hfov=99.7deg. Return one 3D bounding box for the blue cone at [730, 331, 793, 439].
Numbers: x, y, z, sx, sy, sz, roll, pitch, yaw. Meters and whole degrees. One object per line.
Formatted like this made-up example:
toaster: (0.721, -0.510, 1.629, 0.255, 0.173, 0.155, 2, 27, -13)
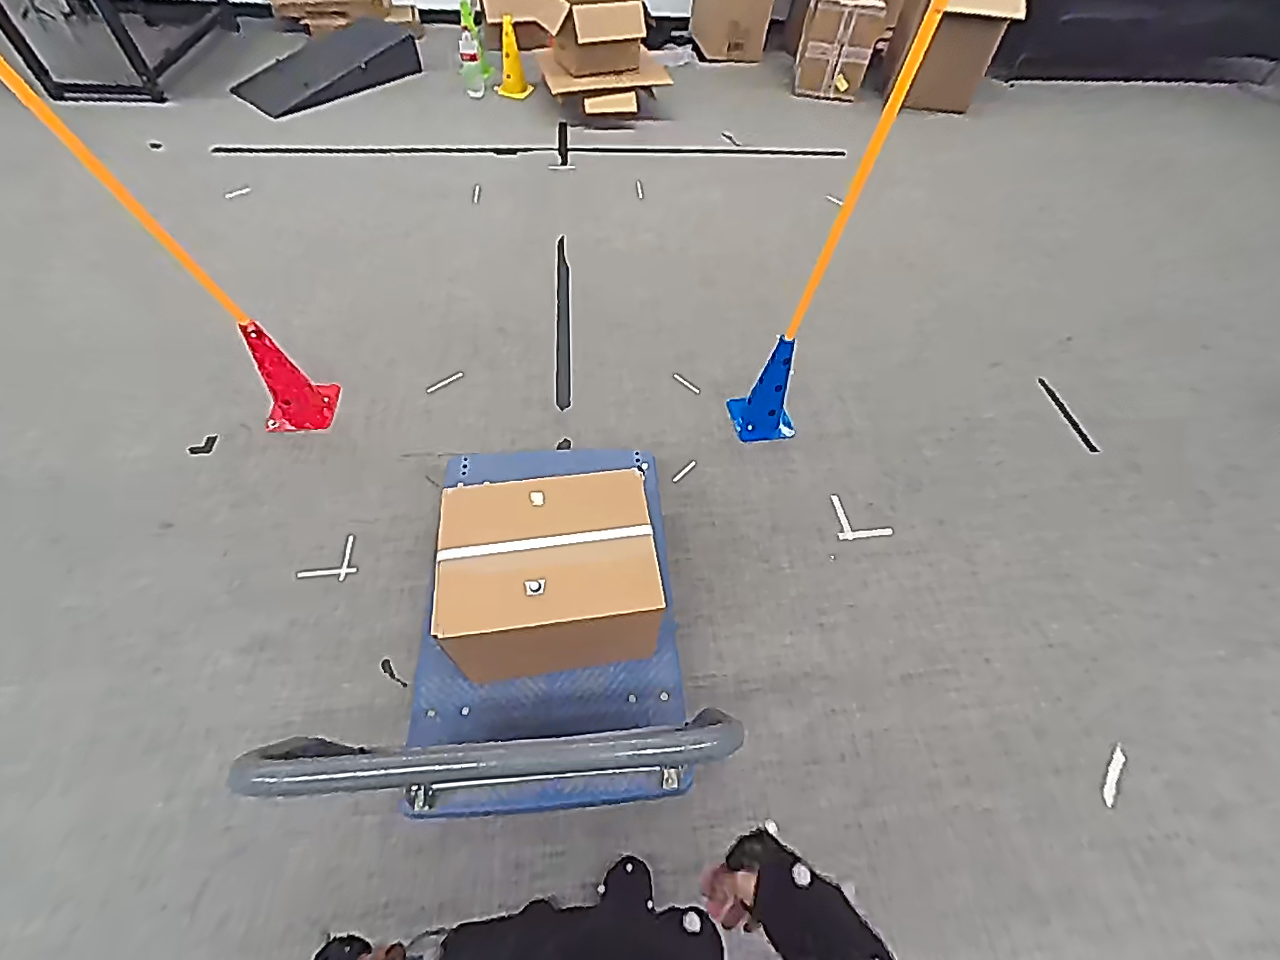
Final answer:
blue cone: (0.432, -0.316, 1.757, 0.193, 0.380, 0.192, -6, 55, -8)
